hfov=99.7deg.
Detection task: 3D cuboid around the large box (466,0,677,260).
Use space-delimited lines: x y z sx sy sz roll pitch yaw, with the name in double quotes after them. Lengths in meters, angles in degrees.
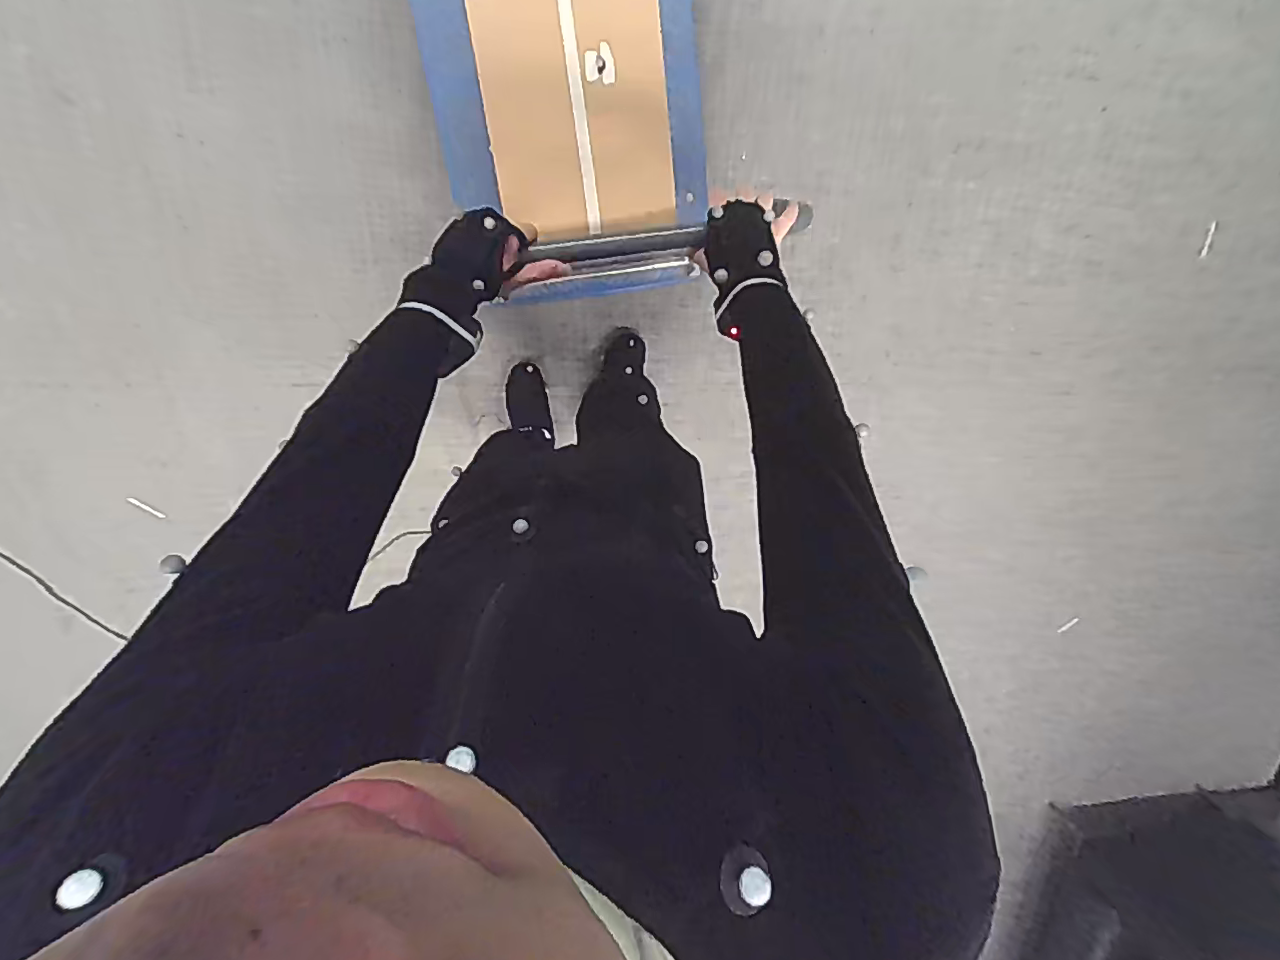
-0.124 -0.683 1.078 0.320 0.320 0.408 -9 109 -5 "large box"
